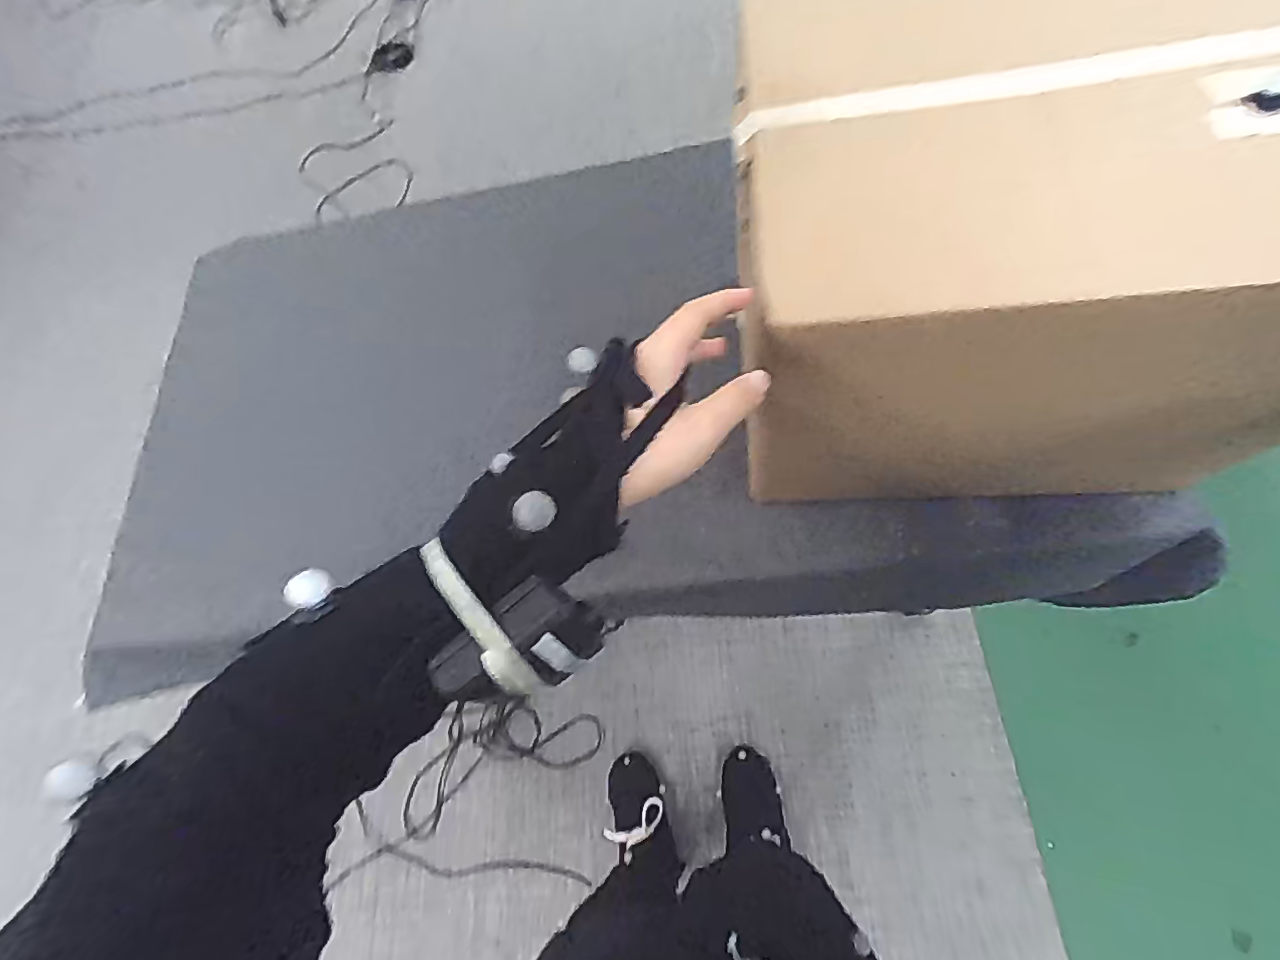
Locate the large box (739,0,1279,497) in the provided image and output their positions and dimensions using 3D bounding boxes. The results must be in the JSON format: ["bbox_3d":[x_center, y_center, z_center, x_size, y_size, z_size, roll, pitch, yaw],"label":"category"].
[{"bbox_3d":[0.298,-0.184,0.466,0.408,0.320,0.320,-2,69,9],"label":"large box"}]
